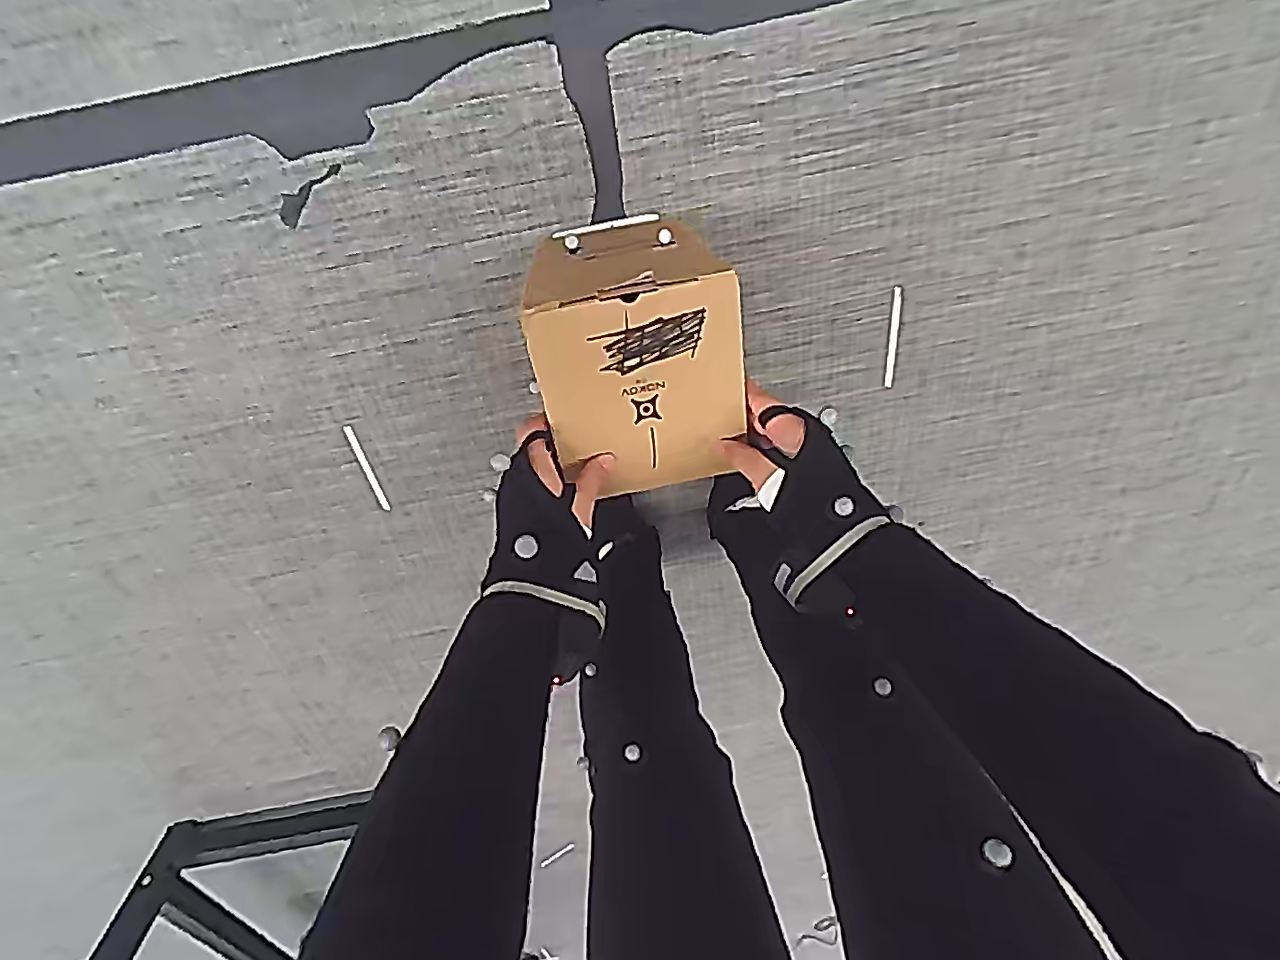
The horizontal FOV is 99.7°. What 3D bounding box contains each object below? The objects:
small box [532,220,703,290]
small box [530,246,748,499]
[{"bbox_3d":[-0.020,-0.202,0.648,0.179,0.176,0.168,-10,124,-1],"label":"small box"},{"bbox_3d":[-0.003,-0.110,0.509,0.168,0.176,0.179,-10,124,-1],"label":"small box"}]
